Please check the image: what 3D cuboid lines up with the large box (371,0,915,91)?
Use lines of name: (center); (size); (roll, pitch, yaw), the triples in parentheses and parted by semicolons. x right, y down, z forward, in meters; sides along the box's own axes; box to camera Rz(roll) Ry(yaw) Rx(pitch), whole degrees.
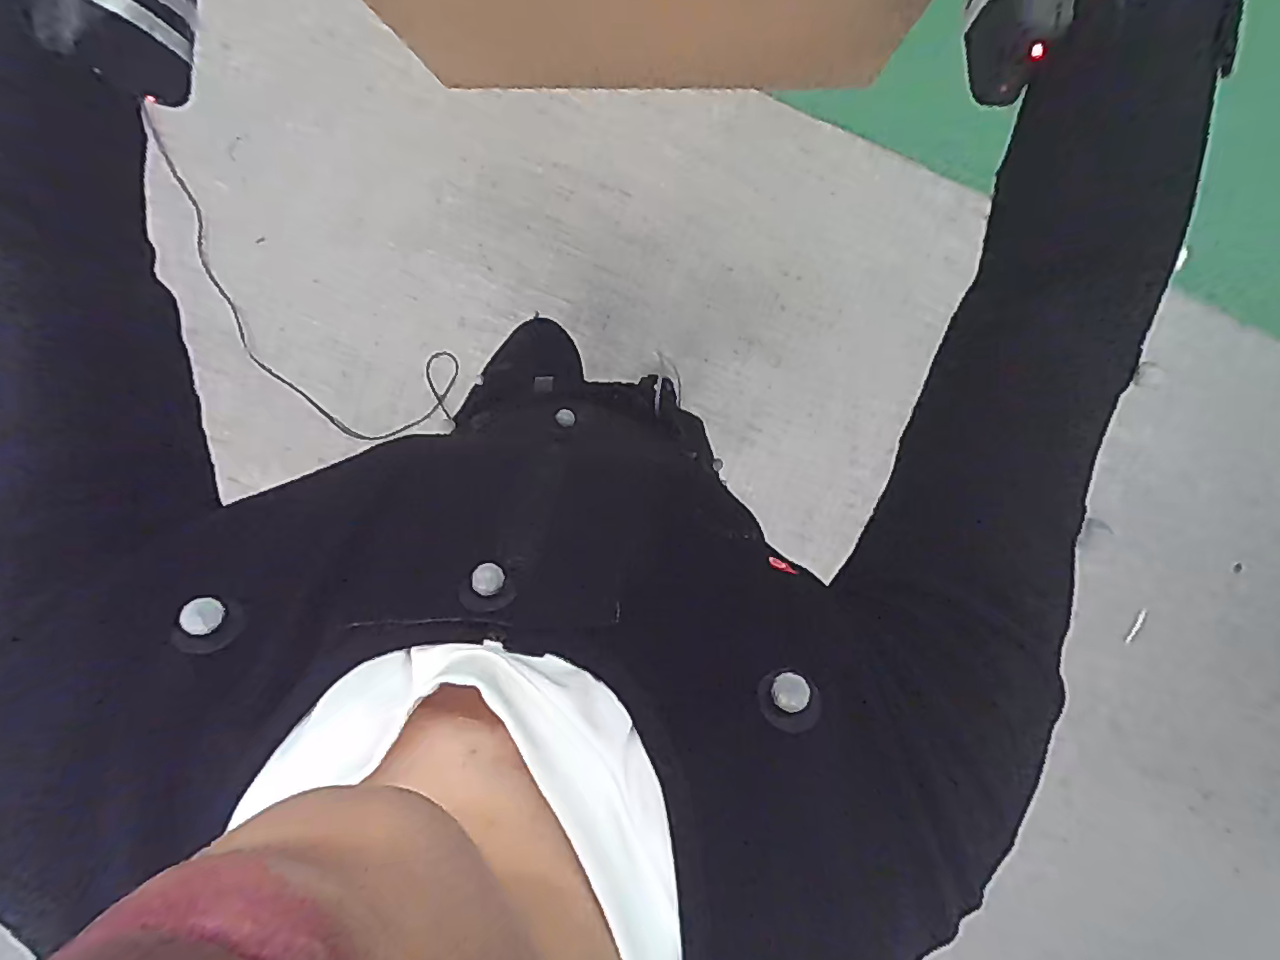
large box: (0.000, -0.483, 0.331); (0.408, 0.320, 0.320); (2, 105, 4)
